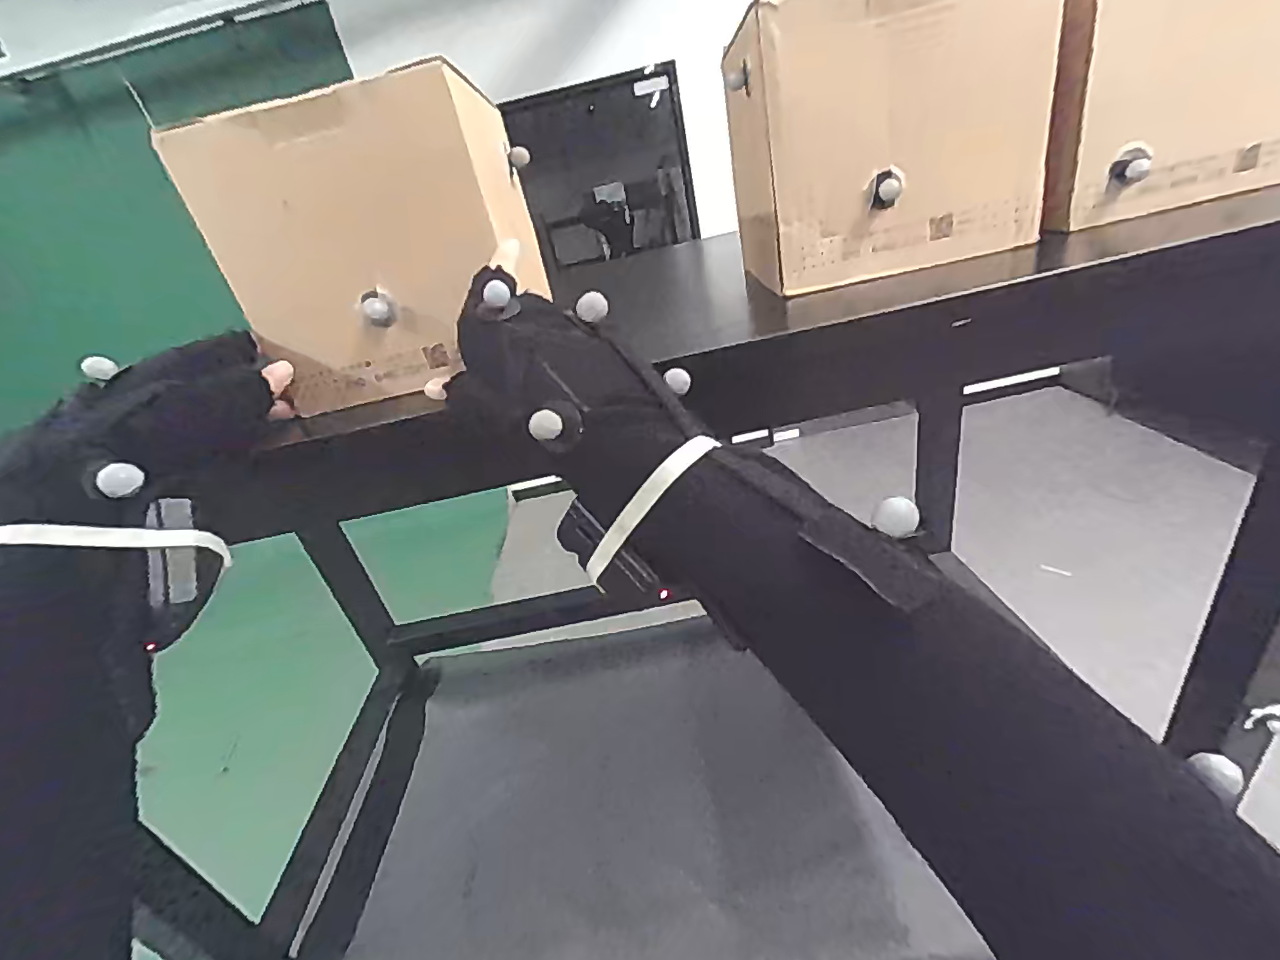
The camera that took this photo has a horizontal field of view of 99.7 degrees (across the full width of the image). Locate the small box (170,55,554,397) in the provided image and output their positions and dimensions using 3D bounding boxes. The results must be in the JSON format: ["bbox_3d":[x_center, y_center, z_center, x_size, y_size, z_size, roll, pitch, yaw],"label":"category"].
[{"bbox_3d":[-0.169,-0.175,0.403,0.168,0.176,0.179,-13,27,3],"label":"small box"}]

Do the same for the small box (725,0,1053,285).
[{"bbox_3d":[0.161,-0.254,0.405,0.168,0.176,0.179,-10,27,7],"label":"small box"}]

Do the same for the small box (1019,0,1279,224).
[{"bbox_3d":[0.339,-0.292,0.390,0.168,0.176,0.179,-11,26,6],"label":"small box"}]
